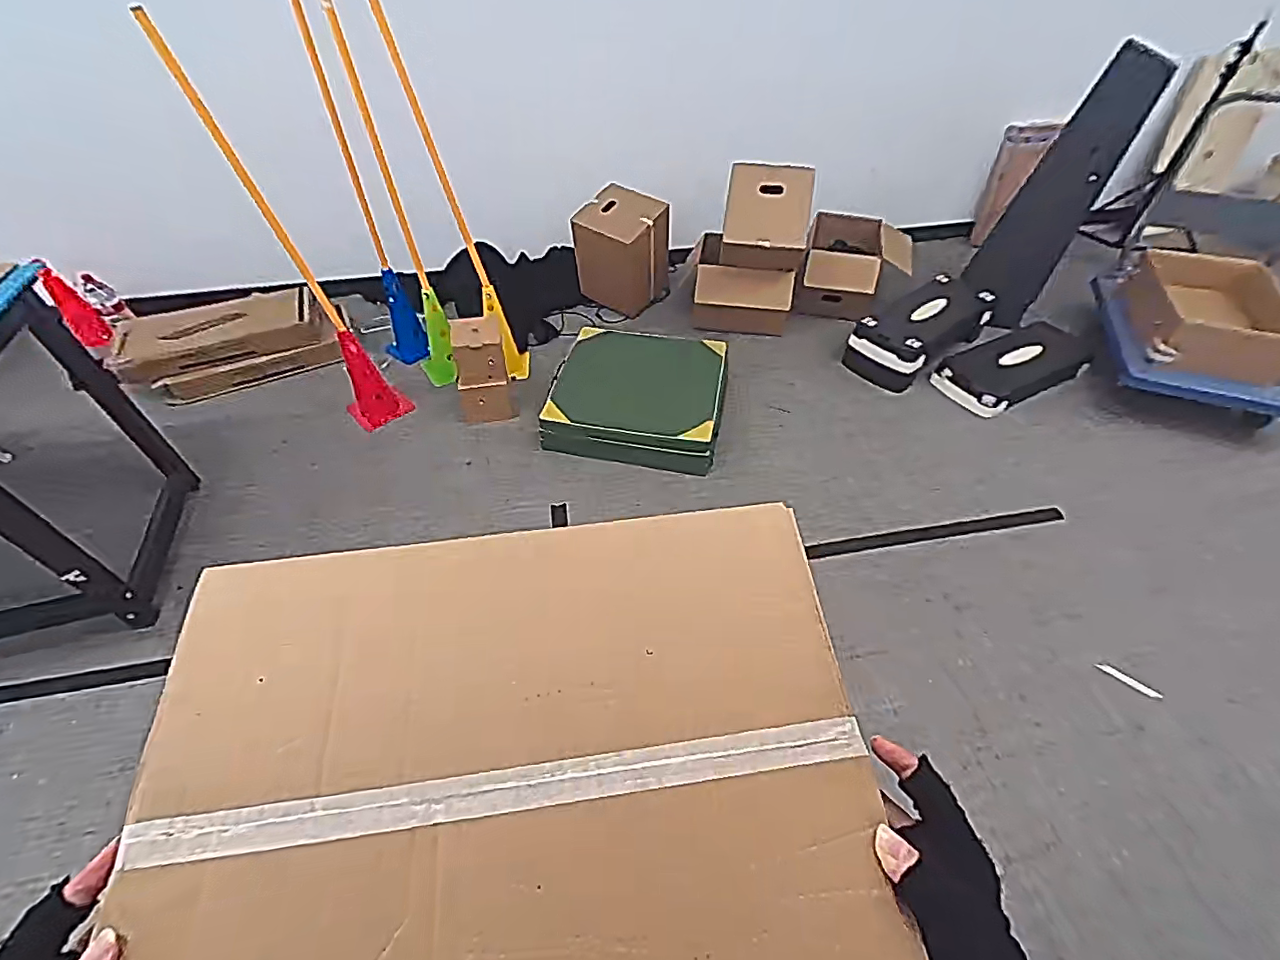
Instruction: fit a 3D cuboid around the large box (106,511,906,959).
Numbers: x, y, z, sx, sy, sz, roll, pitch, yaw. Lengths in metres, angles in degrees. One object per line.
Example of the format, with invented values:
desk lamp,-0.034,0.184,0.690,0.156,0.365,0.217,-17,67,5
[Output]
large box,-0.075,0.250,0.441,0.408,0.320,0.320,-6,59,-4
